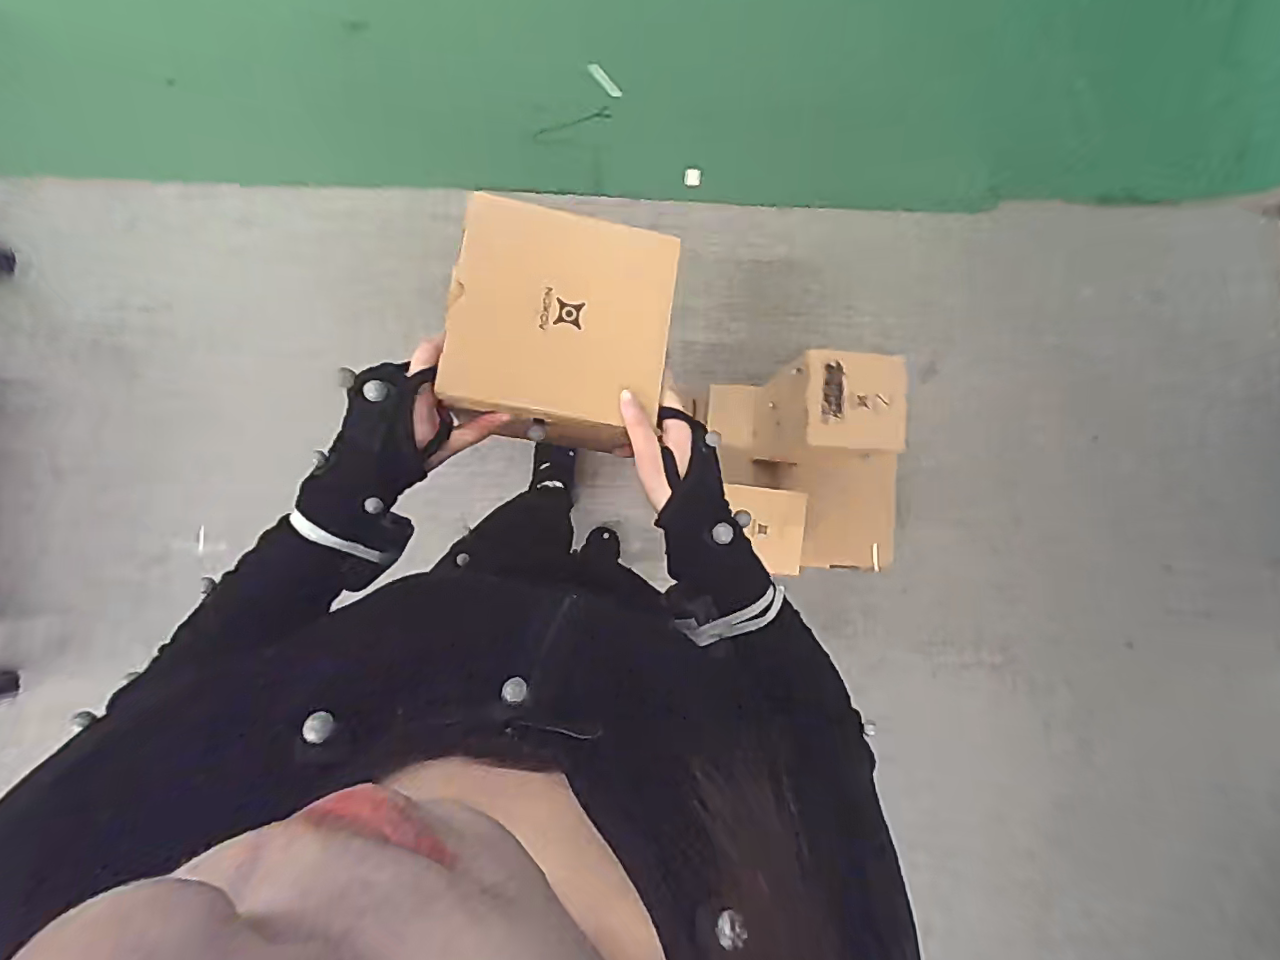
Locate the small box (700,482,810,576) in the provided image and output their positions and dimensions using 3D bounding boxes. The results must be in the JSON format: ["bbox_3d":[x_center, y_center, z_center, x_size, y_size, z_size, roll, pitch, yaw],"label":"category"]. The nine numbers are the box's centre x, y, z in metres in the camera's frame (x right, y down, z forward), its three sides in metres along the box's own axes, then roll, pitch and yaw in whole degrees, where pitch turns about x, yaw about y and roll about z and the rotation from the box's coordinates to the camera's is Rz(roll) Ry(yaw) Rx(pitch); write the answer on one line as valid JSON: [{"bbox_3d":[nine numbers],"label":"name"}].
[{"bbox_3d":[0.232,0.098,1.135,0.179,0.176,0.168,8,89,-5],"label":"small box"}]

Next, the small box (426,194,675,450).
[{"bbox_3d":[-0.078,-0.126,0.504,0.179,0.176,0.168,8,85,-8],"label":"small box"}]

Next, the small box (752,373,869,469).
[{"bbox_3d":[0.356,-0.117,1.151,0.179,0.176,0.168,8,87,-5],"label":"small box"}]
